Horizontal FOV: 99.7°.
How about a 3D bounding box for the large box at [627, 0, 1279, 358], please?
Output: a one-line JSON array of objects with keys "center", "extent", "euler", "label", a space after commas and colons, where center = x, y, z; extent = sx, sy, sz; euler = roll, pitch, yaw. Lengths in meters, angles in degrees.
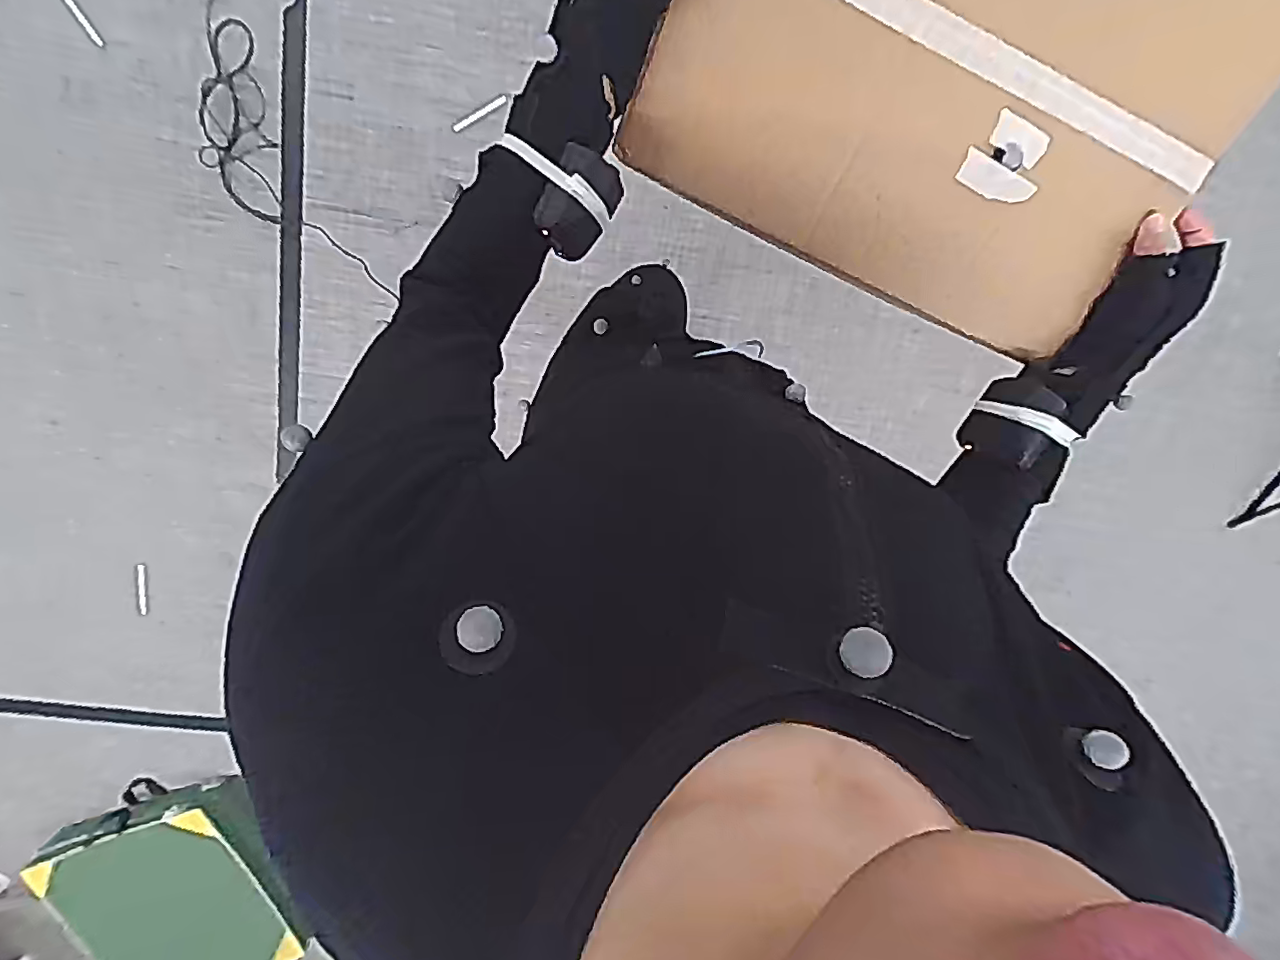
[{"center": [0.234, -0.369, 0.518], "extent": [0.408, 0.320, 0.320], "euler": [23, 117, -8], "label": "large box"}]
